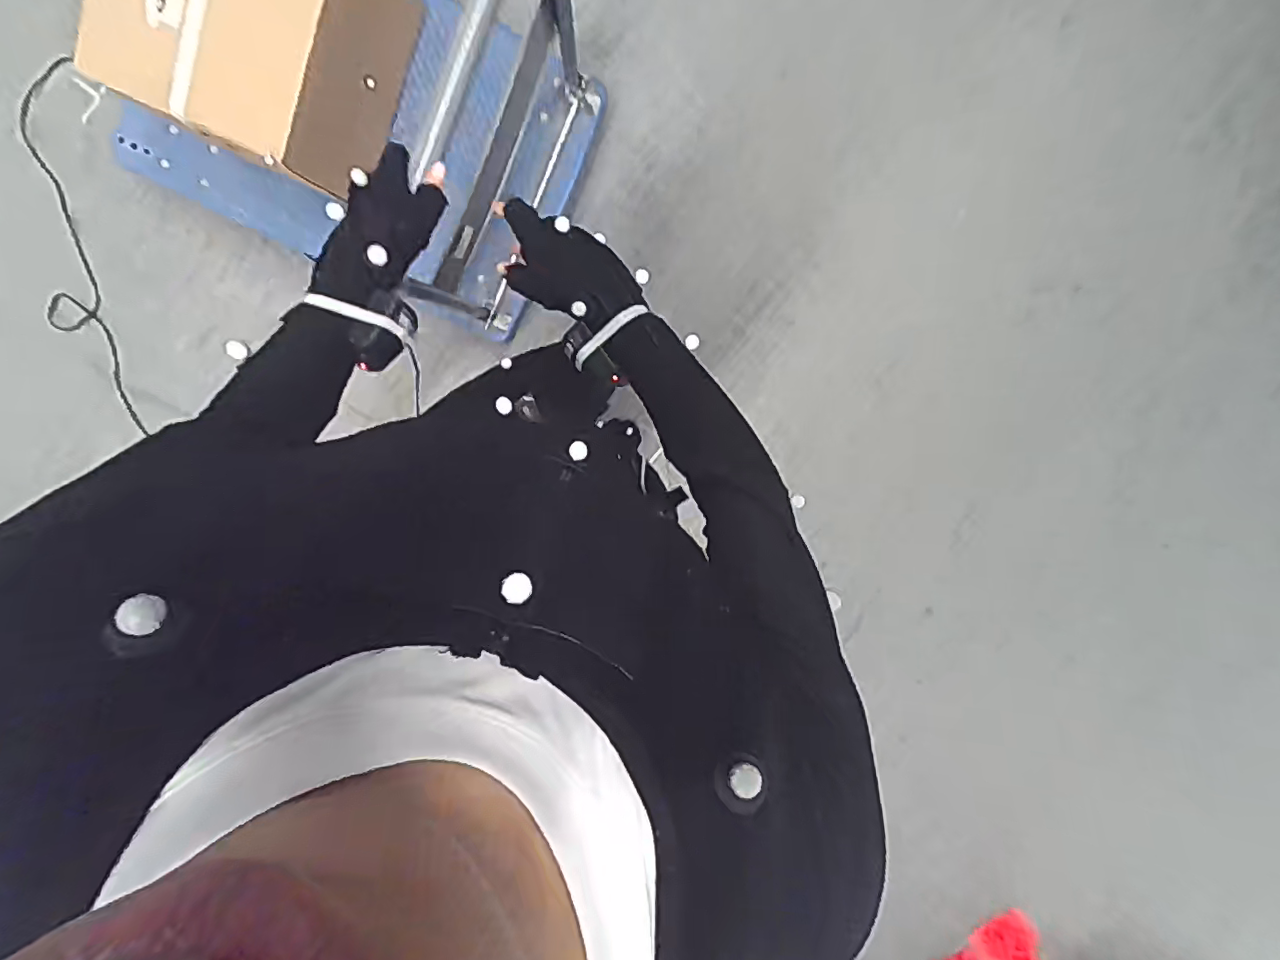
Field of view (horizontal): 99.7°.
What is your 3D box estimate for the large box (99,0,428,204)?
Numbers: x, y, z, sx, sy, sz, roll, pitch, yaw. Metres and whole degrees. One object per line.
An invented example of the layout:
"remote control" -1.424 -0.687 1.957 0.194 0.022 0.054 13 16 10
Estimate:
"large box" -0.616 -0.777 0.942 0.320 0.320 0.408 22 103 -7
